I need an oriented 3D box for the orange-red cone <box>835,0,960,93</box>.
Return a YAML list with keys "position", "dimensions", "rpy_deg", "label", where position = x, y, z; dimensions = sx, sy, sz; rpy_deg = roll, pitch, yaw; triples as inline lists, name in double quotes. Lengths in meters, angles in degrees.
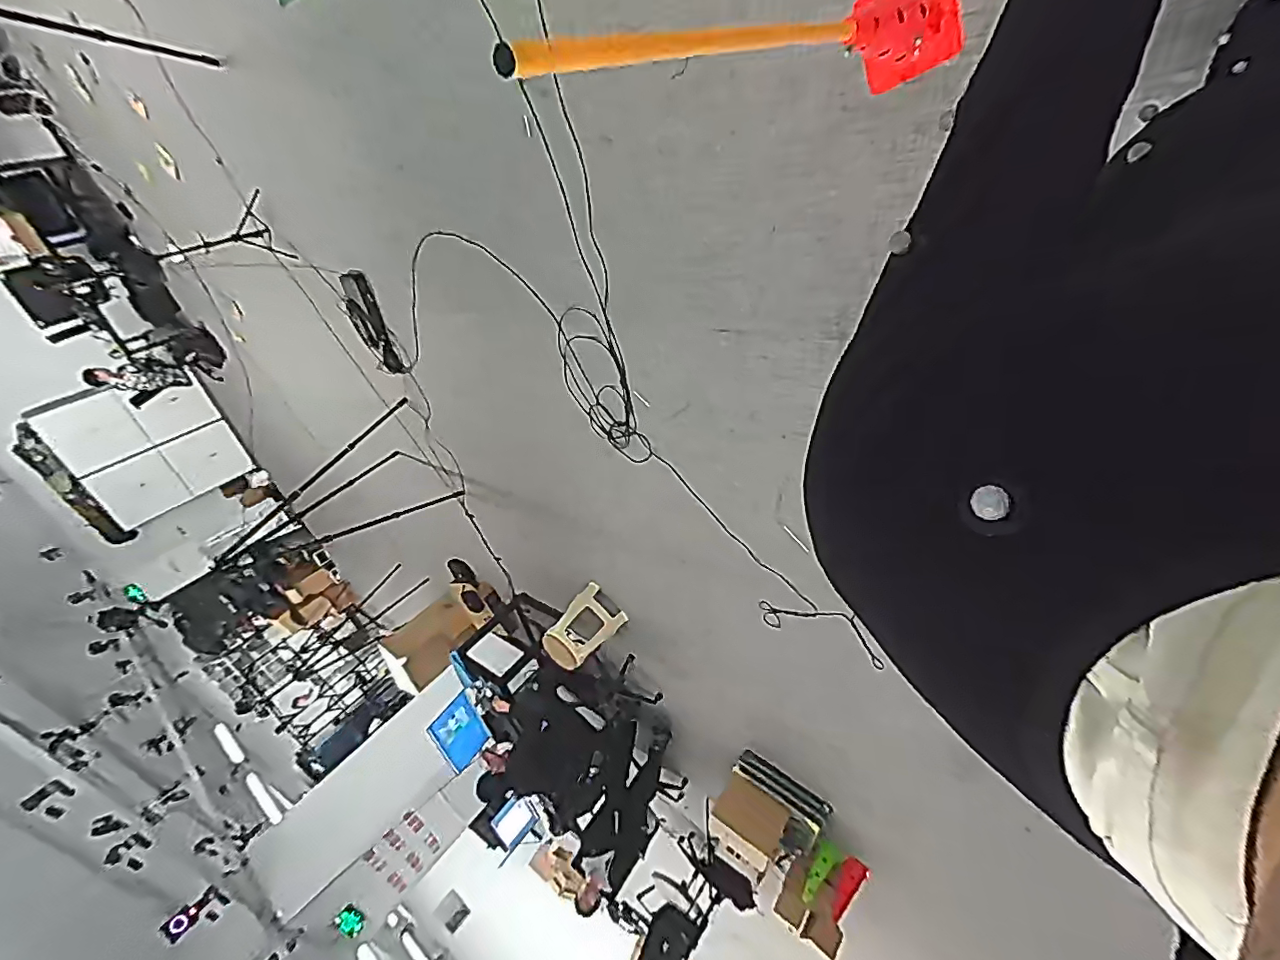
- position: [0.479, -0.905, 1.087]
  dimensions: [0.199, 0.360, 0.198]
  rpy_deg: [2, 123, 46]
  label: "orange-red cone"
